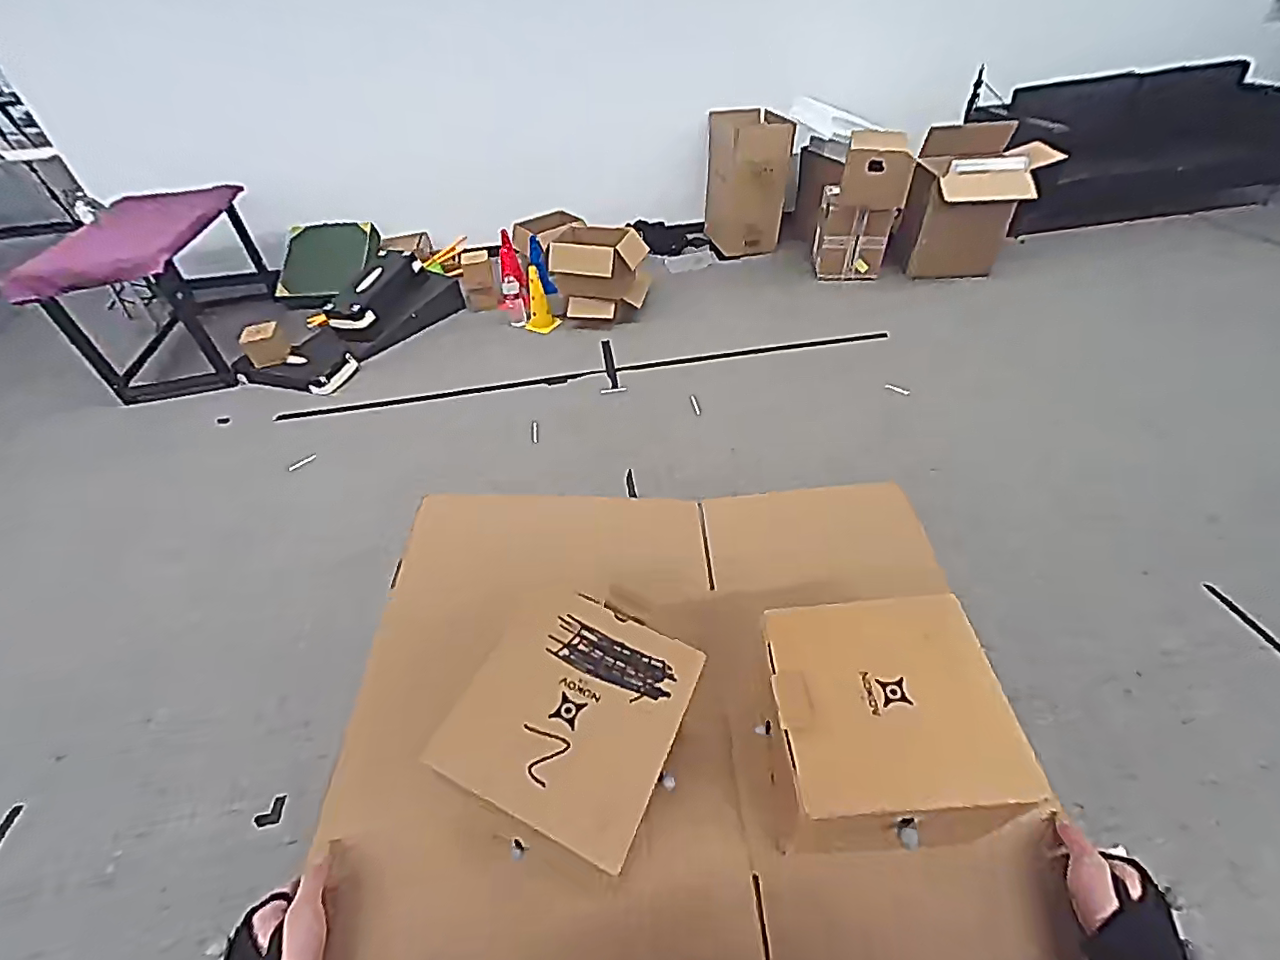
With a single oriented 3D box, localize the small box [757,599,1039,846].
[{"bbox_3d":[0.213,0.231,0.508,0.179,0.176,0.168,-6,47,4],"label":"small box"}]
